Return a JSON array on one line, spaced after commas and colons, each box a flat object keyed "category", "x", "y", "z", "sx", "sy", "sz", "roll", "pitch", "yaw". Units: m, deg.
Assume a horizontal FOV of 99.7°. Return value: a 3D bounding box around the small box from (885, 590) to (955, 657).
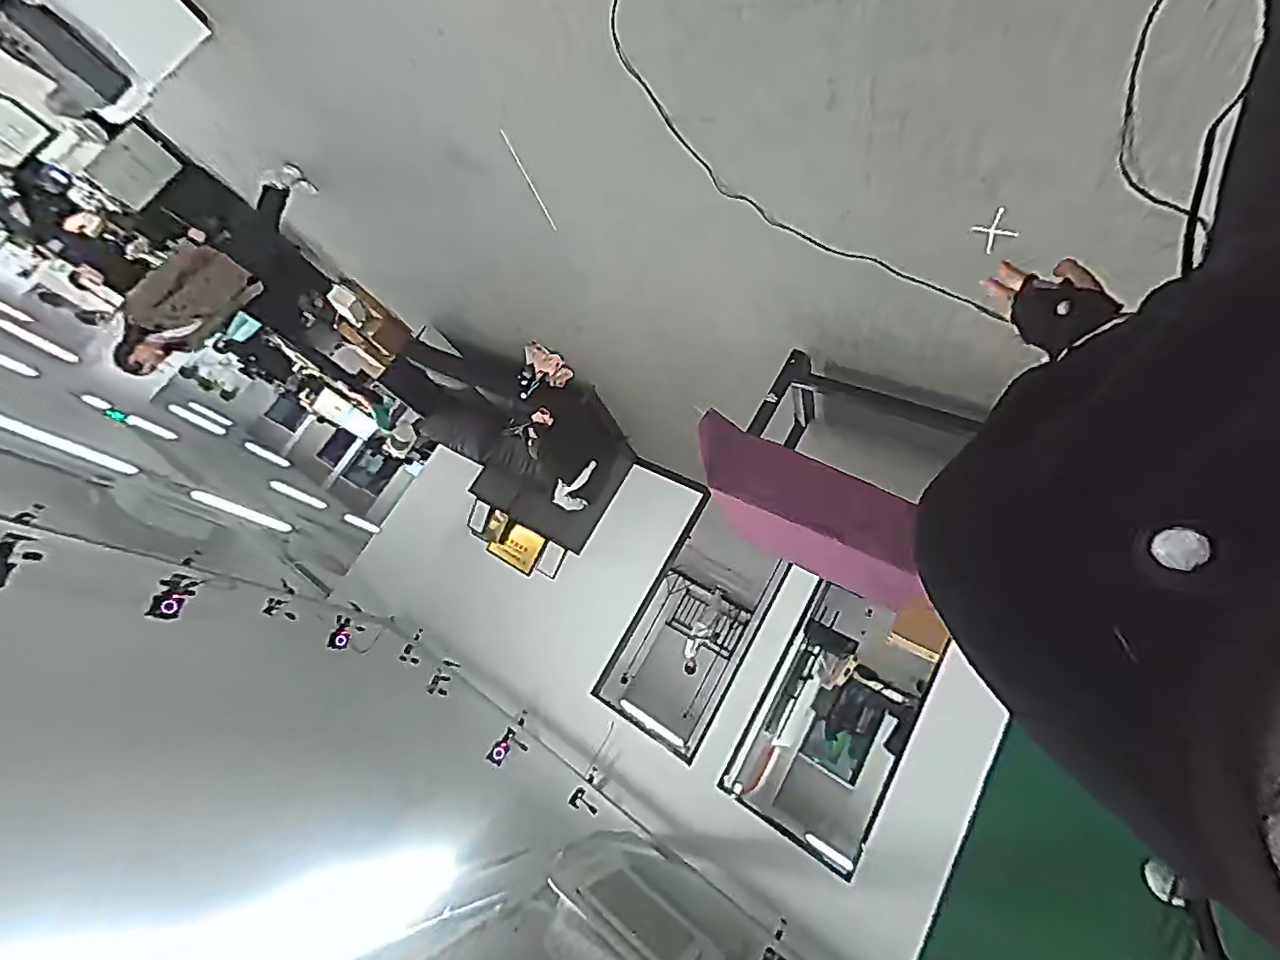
[{"category": "small box", "x": 1.029, "y": 0.523, "z": 1.994, "sx": 0.179, "sy": 0.176, "sz": 0.168, "roll": 25, "pitch": 166, "yaw": 30}]
